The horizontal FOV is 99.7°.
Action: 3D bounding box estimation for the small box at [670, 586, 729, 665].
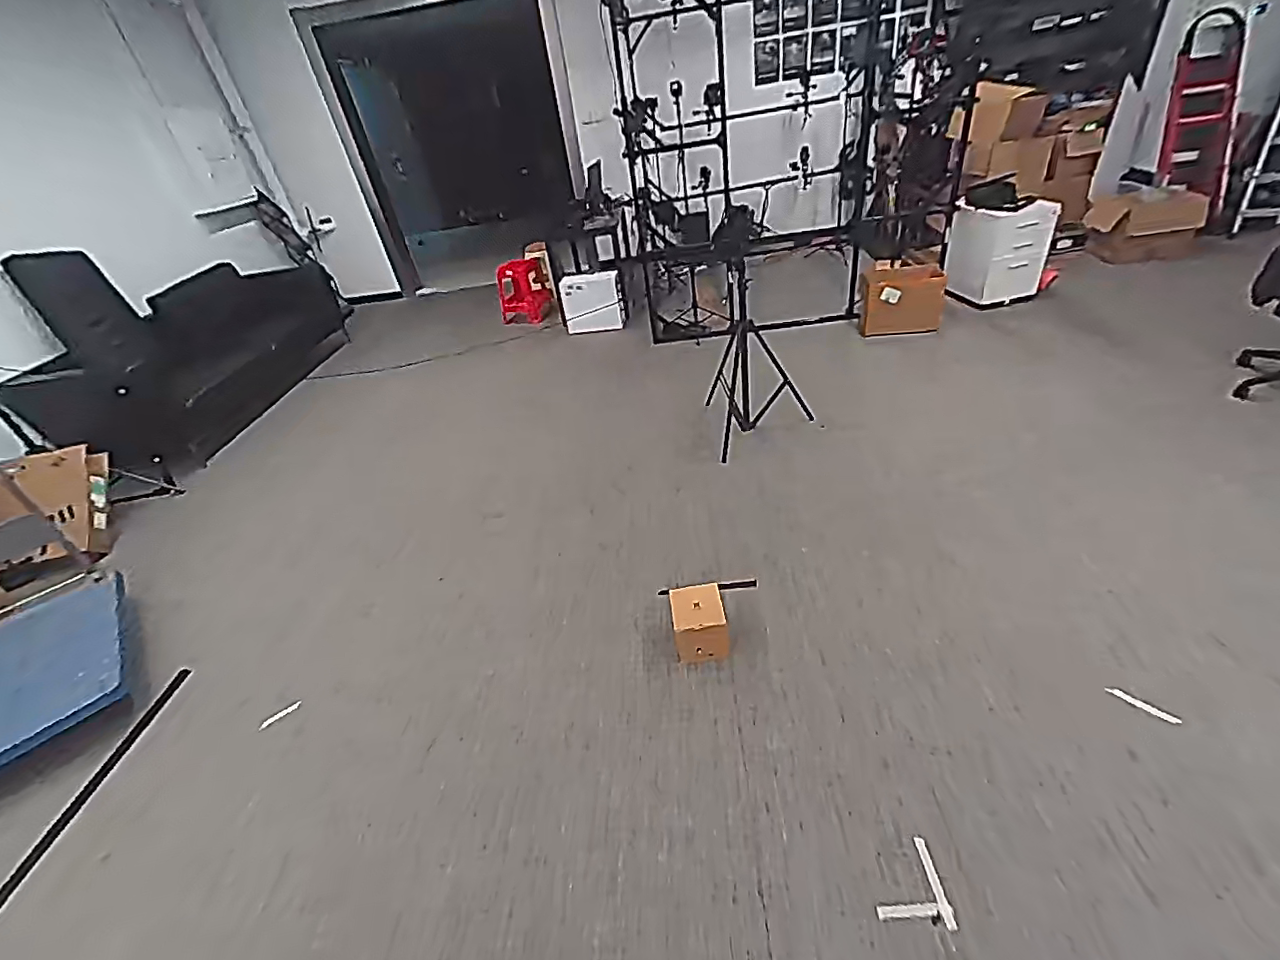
[{"bbox_3d":[0.195,0.479,1.784,0.168,0.176,0.179,-9,35,2],"label":"small box"}]
